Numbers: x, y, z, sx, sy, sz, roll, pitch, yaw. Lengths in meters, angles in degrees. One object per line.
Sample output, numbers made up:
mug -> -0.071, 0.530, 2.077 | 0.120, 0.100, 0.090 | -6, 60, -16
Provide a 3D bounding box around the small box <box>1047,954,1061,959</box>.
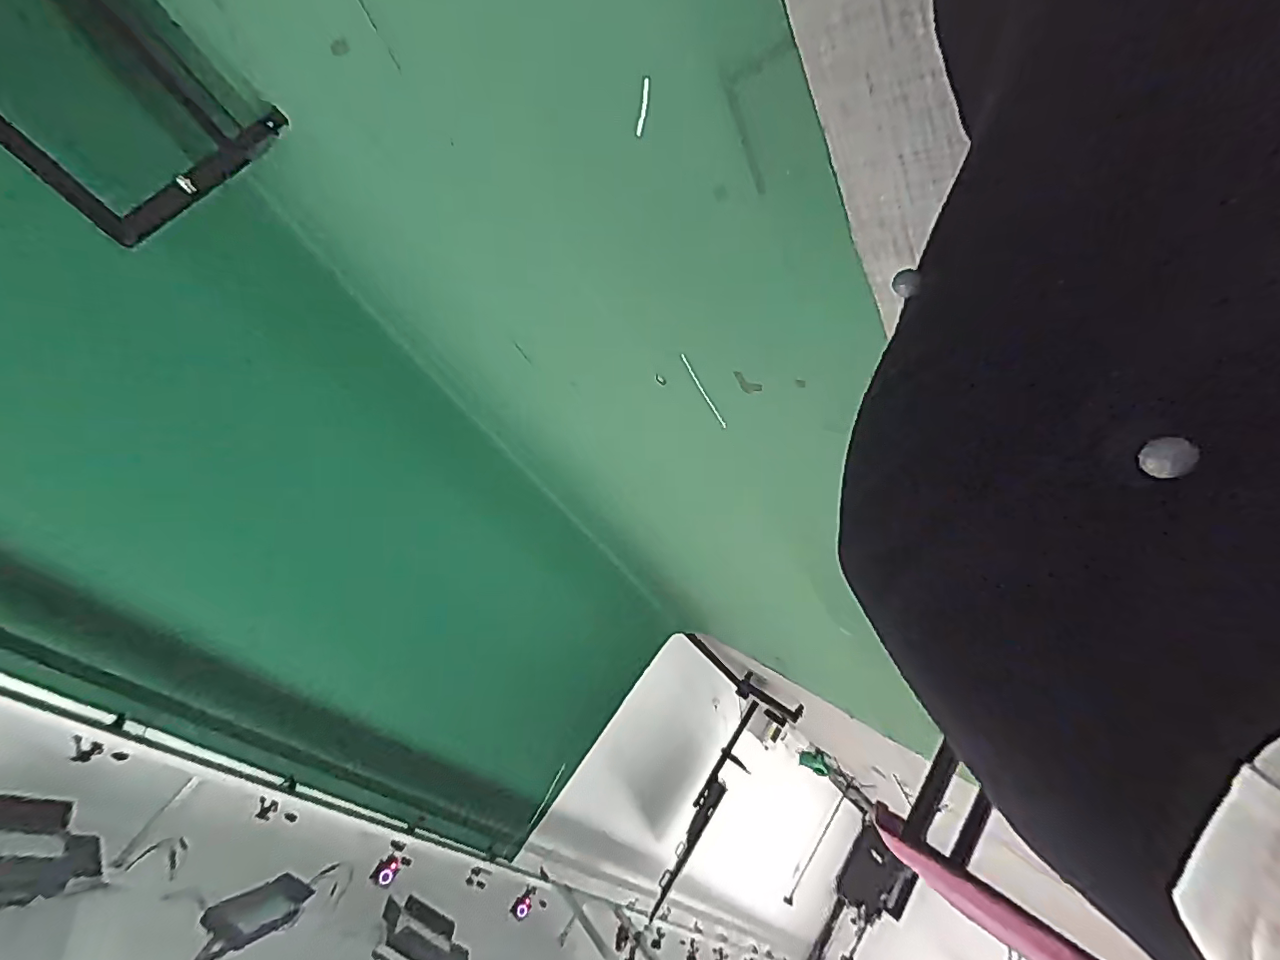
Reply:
small box -> 1.093, 1.331, 1.339 | 0.179, 0.176, 0.168 | 22, 157, 44
